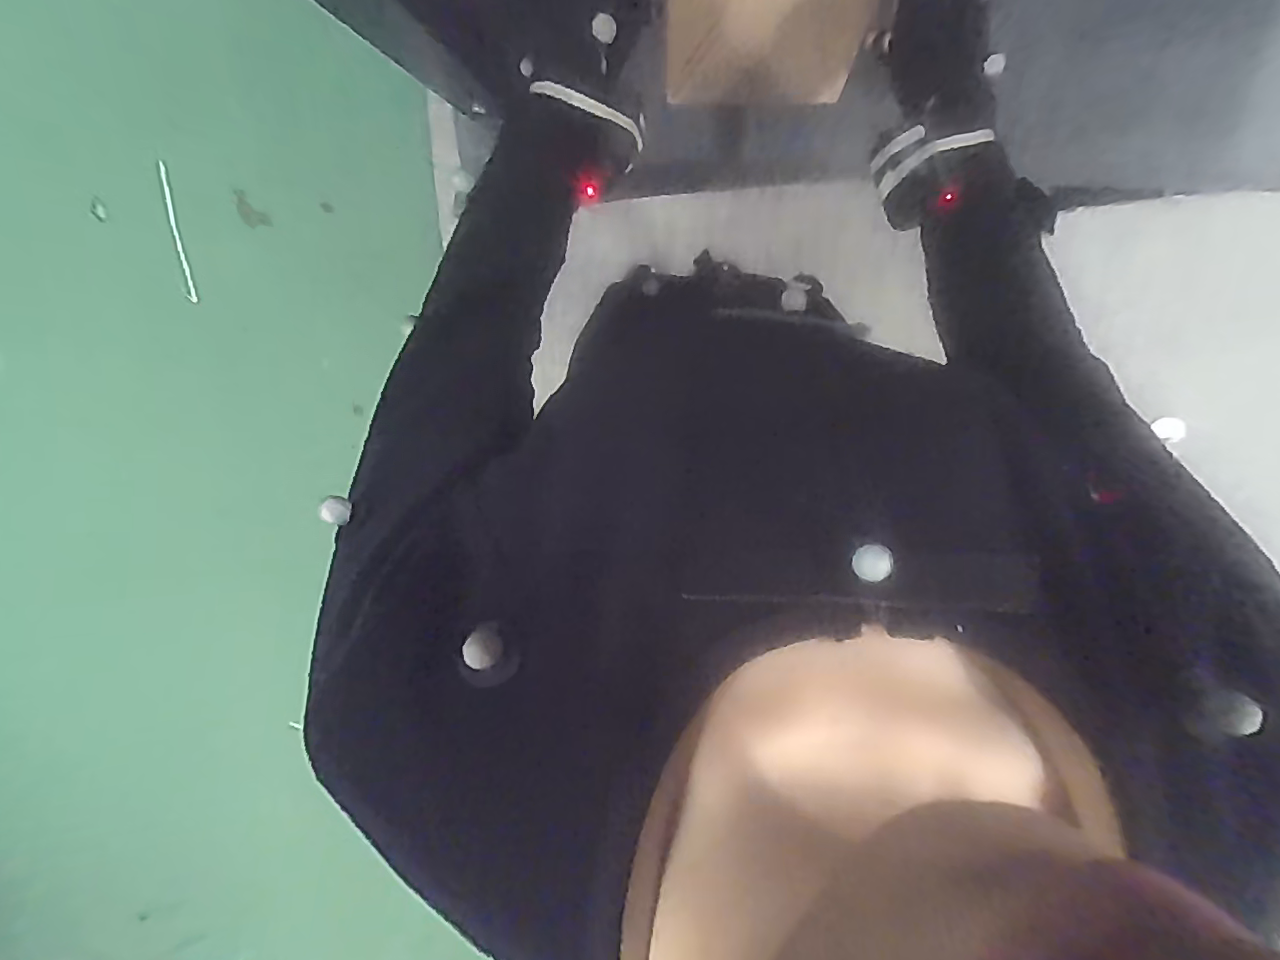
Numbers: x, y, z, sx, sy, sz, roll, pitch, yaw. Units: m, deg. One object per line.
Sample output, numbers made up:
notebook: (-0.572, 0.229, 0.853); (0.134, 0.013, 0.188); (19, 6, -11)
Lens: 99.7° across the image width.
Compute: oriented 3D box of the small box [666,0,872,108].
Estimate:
small box: (0.107, -0.454, 0.448); (0.168, 0.179, 0.176); (1, 86, 3)

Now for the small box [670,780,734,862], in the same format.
small box: (0.213, 1.195, 1.905); (0.179, 0.176, 0.168); (16, 110, -3)
